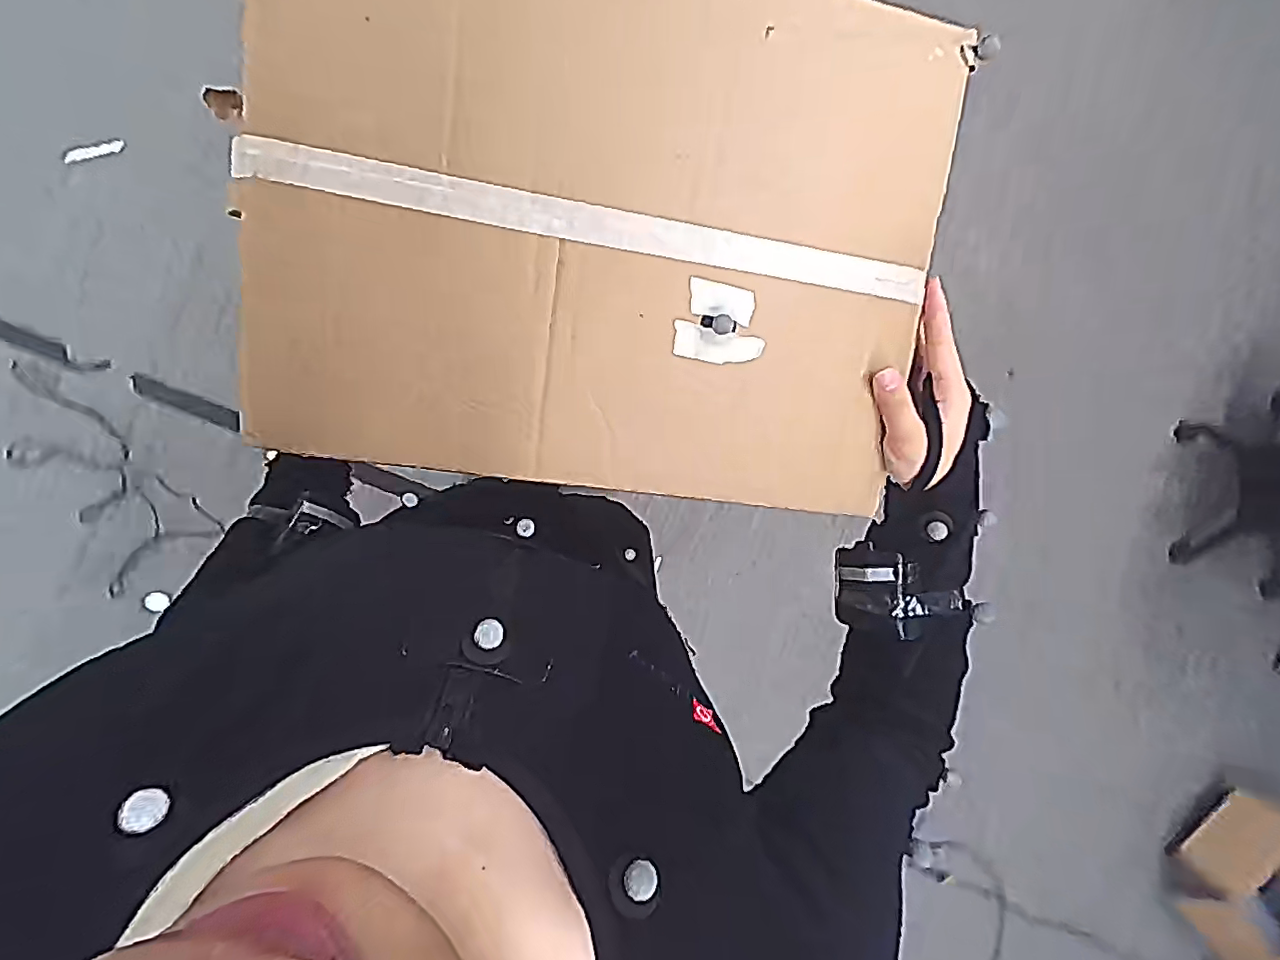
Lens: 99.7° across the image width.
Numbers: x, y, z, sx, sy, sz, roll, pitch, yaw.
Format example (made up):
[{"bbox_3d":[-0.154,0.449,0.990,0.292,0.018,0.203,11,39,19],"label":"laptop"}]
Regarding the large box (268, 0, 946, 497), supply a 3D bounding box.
[{"bbox_3d":[-0.037,-0.176,0.478,0.408,0.320,0.320,5,100,-11],"label":"large box"}]
